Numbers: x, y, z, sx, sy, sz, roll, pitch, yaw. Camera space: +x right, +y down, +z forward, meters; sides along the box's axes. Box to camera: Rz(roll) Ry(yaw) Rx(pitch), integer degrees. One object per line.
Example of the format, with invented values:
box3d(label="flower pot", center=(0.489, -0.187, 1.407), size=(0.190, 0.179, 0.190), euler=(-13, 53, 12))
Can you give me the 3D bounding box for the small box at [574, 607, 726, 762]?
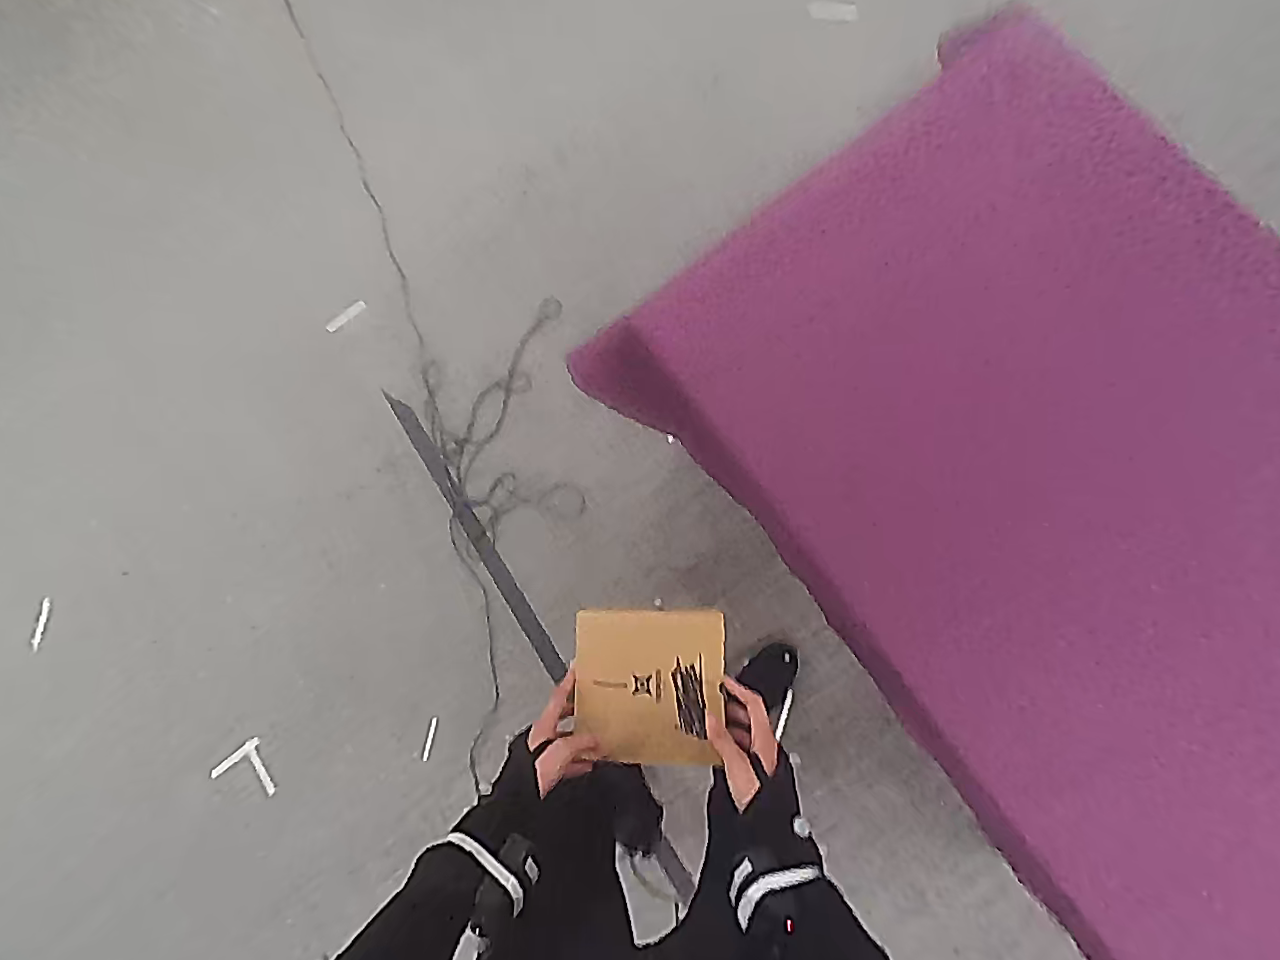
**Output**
box3d(label="small box", center=(0.011, 0.254, 0.706), size=(0.179, 0.176, 0.168), euler=(0, 79, 0))
